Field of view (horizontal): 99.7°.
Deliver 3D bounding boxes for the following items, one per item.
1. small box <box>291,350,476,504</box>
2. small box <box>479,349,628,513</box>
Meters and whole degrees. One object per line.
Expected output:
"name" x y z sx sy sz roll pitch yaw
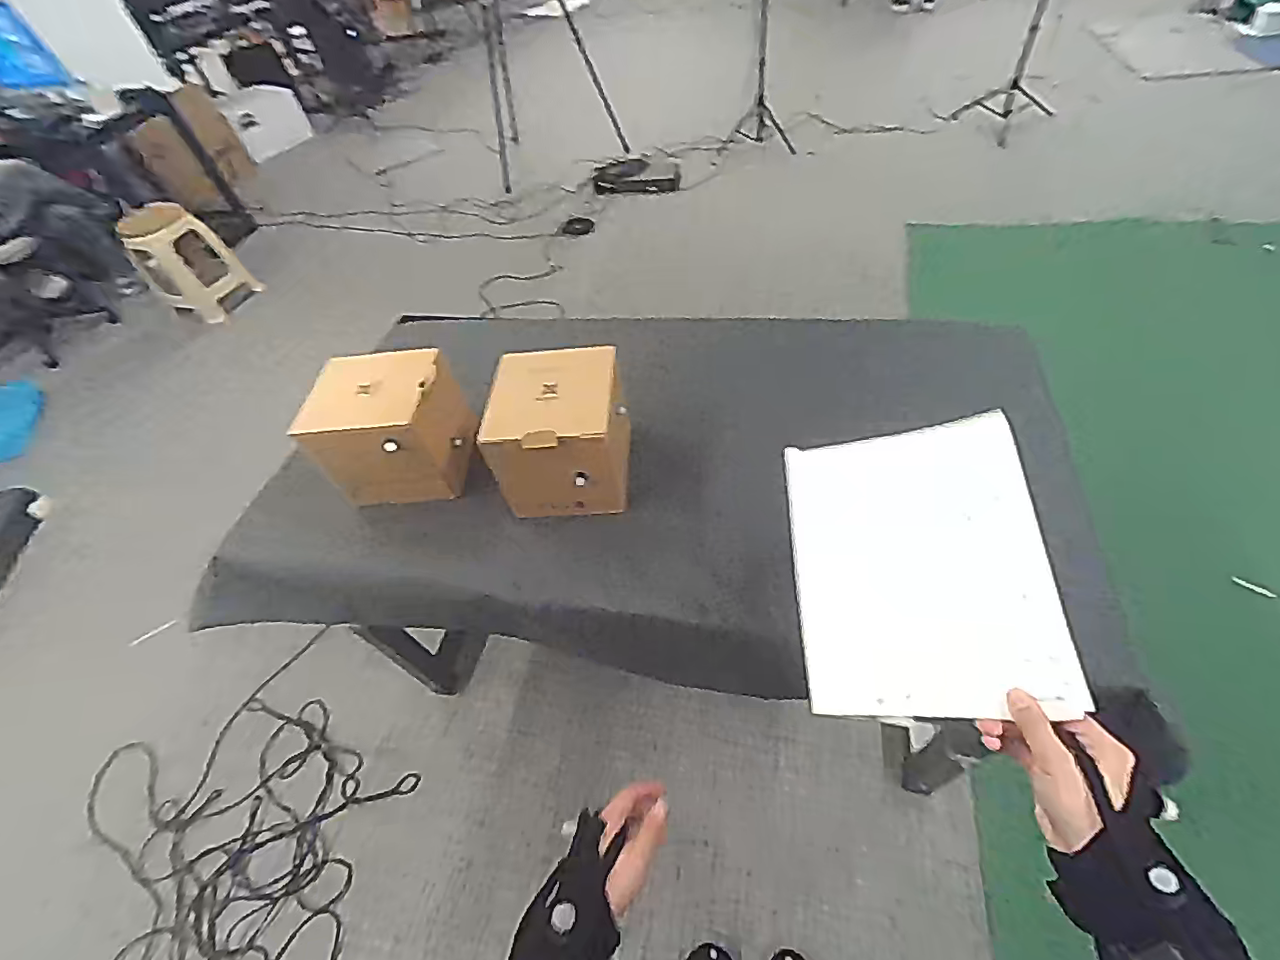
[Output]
"small box" -0.377 -0.076 0.833 0.179 0.176 0.168 -4 50 4
"small box" -0.110 -0.063 0.779 0.168 0.176 0.179 -2 49 6
